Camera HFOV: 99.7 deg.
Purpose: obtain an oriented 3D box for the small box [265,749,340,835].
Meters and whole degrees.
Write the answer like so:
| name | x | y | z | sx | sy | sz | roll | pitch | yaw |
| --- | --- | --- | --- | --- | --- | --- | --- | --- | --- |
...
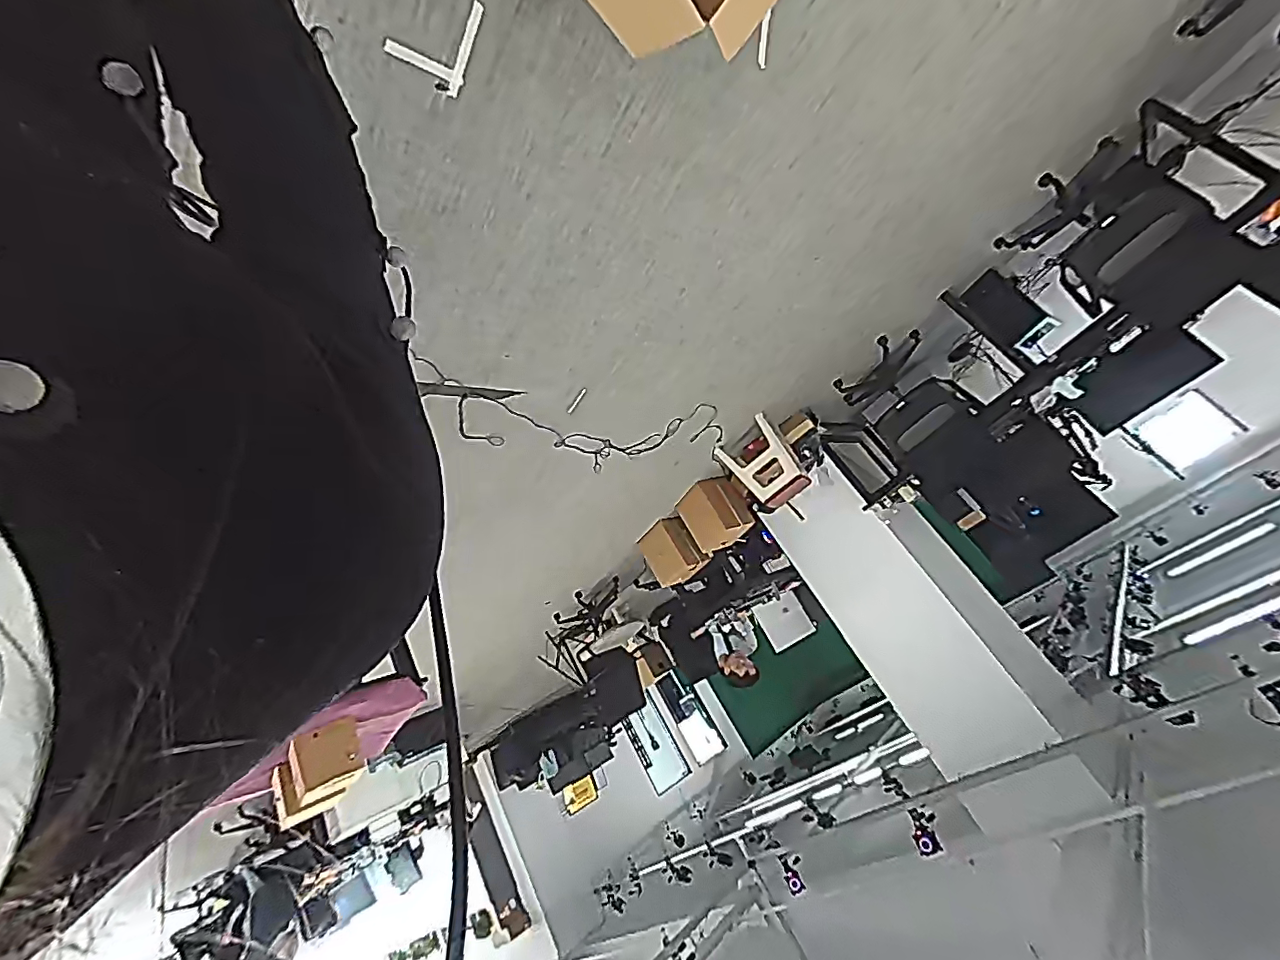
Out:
| name | x | y | z | sx | sy | sz | roll | pitch | yaw |
| --- | --- | --- | --- | --- | --- | --- | --- | --- | --- |
| small box | -1.131 | 1.035 | 1.803 | 0.179 | 0.176 | 0.168 | -7 | 146 | -45 |

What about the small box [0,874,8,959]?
| name | x | y | z | sx | sy | sz | roll | pitch | yaw |
| --- | --- | --- | --- | --- | --- | --- | --- | --- | --- |
| small box | -1.606 | 1.062 | 1.251 | 0.179 | 0.176 | 0.168 | 3 | 137 | -52 |
